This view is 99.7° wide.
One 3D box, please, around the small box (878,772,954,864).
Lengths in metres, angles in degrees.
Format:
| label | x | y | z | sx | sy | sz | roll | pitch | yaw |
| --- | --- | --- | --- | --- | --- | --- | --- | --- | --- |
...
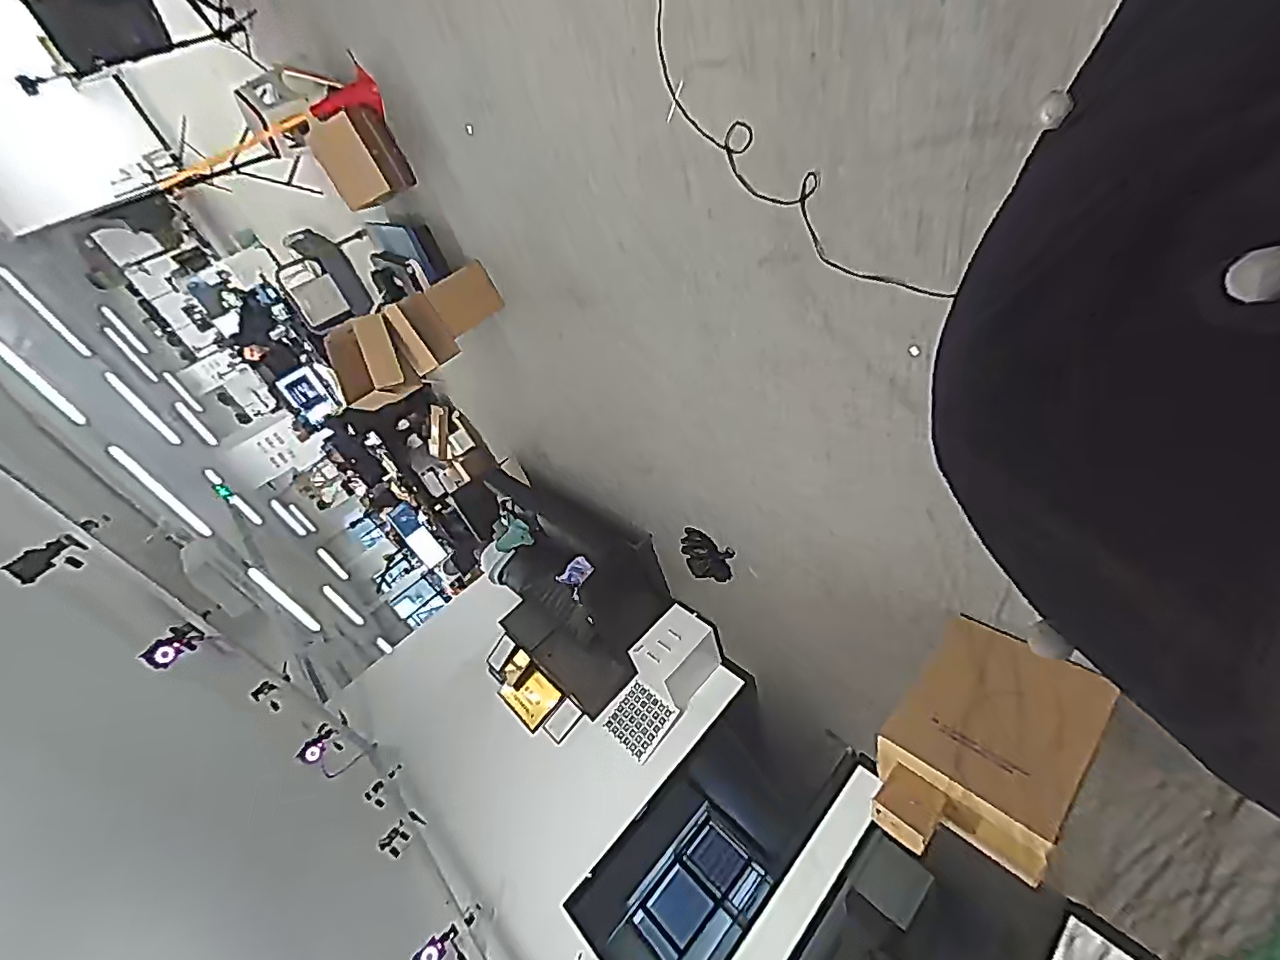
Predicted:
| label | x | y | z | sx | sy | sz | roll | pitch | yaw |
| --- | --- | --- | --- | --- | --- | --- | --- | --- | --- |
| small box | 0.941 | 1.144 | 1.843 | 0.179 | 0.176 | 0.168 | 24 | 140 | 42 |
